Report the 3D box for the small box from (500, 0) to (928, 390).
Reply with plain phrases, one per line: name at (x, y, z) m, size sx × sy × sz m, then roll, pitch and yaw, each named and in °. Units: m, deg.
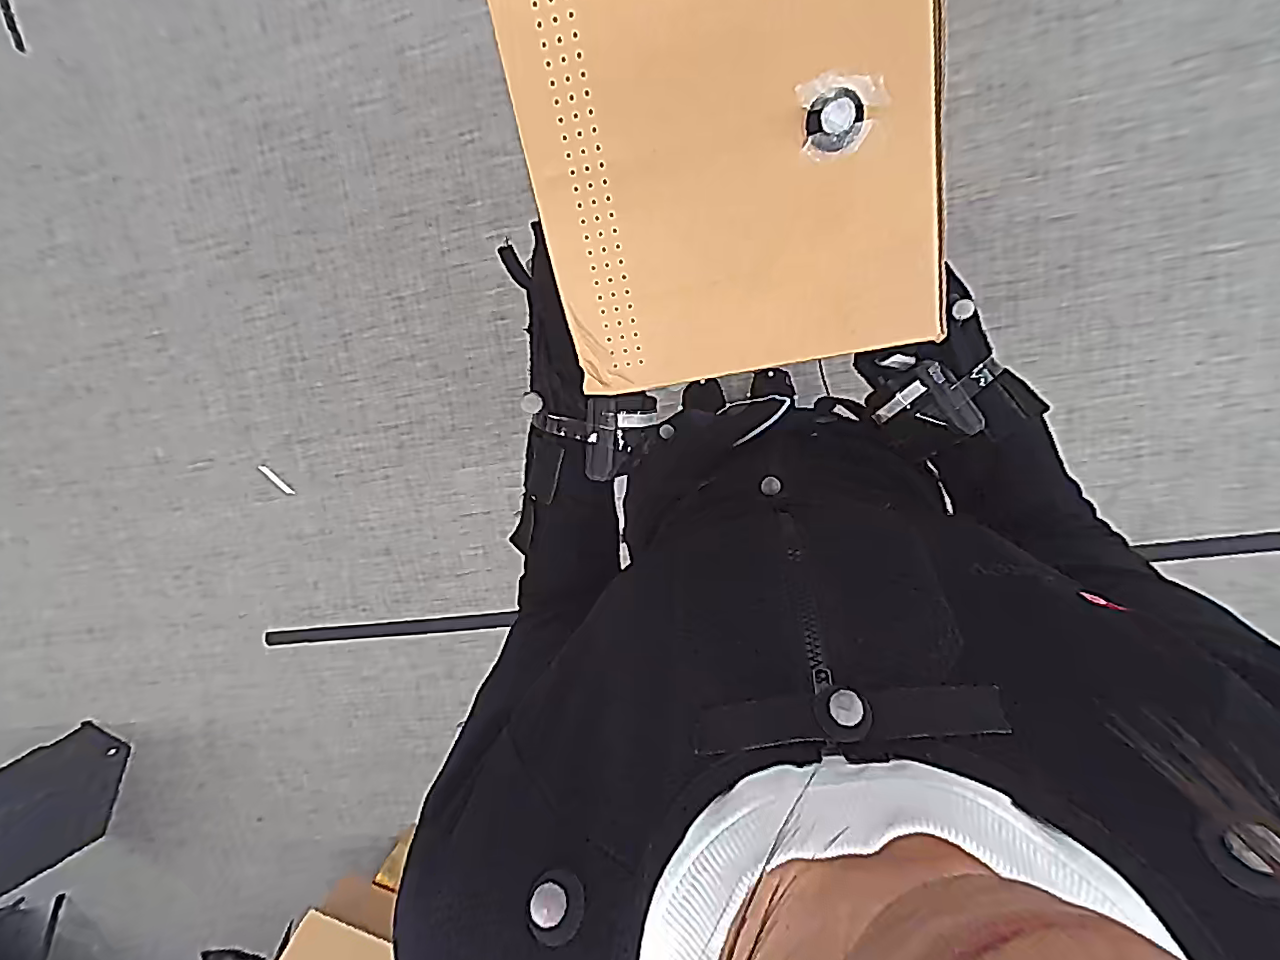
small box at (0.041, -0.165, 0.305) m, size 0.176 × 0.168 × 0.179 m, roll -8°, pitch 111°, yaw 11°
